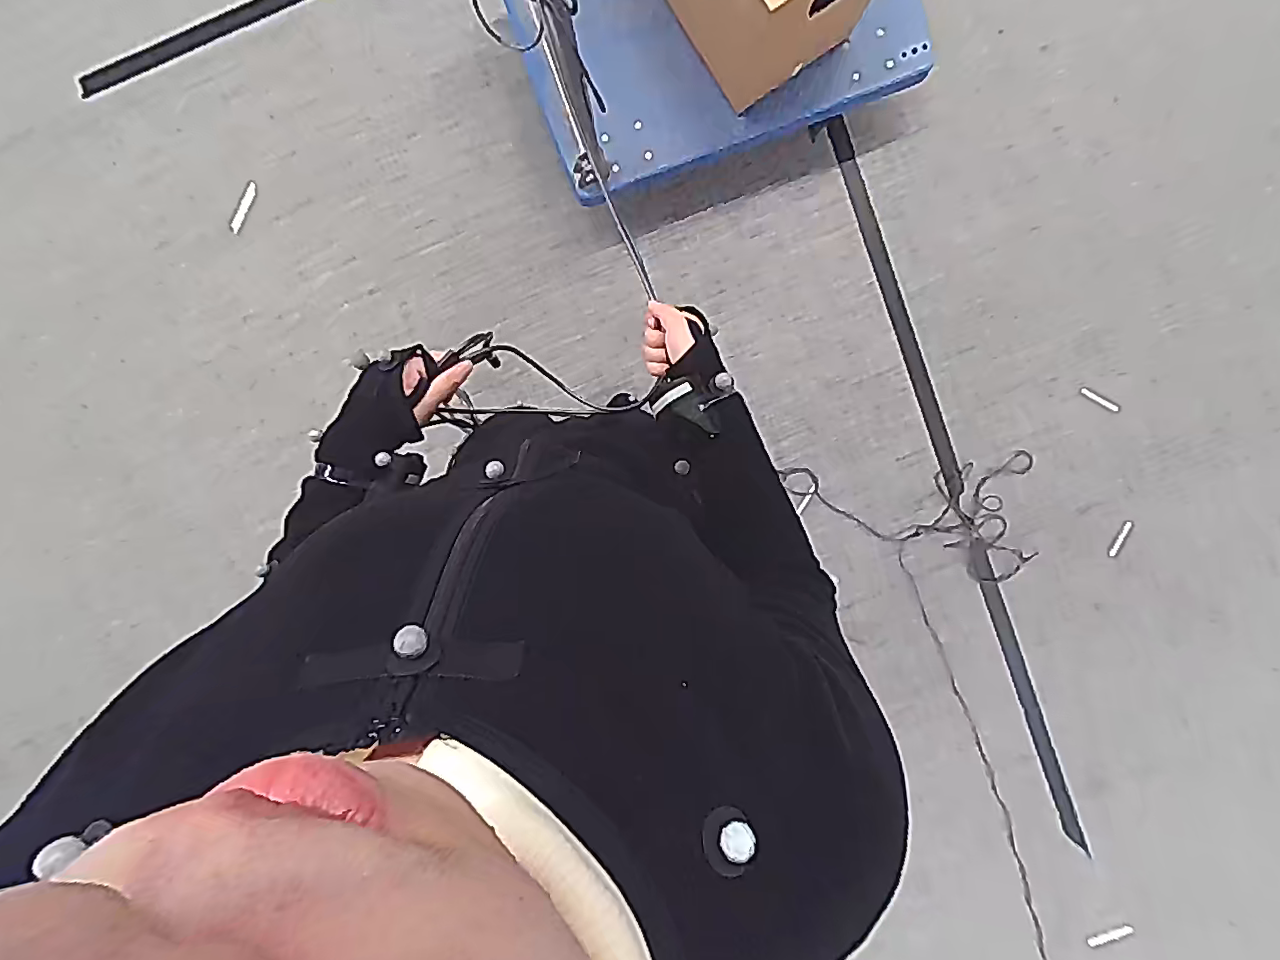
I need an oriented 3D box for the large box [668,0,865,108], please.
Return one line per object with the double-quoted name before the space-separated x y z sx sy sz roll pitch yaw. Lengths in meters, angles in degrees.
"large box" 0.233 -1.060 1.041 0.320 0.320 0.408 -35 96 4
